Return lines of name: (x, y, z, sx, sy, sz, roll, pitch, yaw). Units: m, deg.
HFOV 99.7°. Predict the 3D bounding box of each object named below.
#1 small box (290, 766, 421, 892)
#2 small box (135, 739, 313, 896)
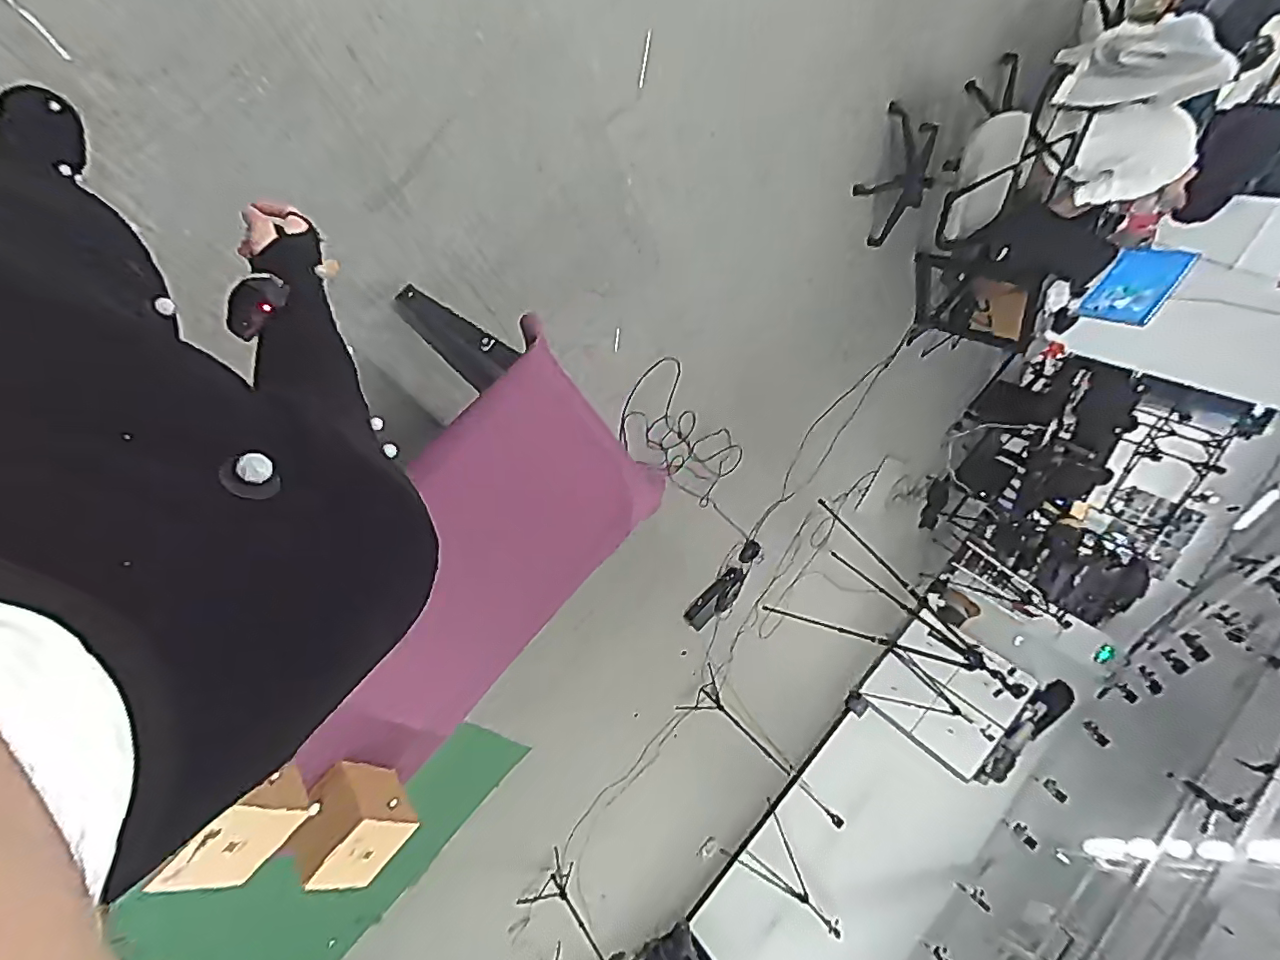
small box: (-0.636, 0.773, 1.205, 0.168, 0.176, 0.179, -48, 140, -12)
small box: (-0.741, 0.594, 0.968, 0.168, 0.176, 0.179, -48, 144, -12)
